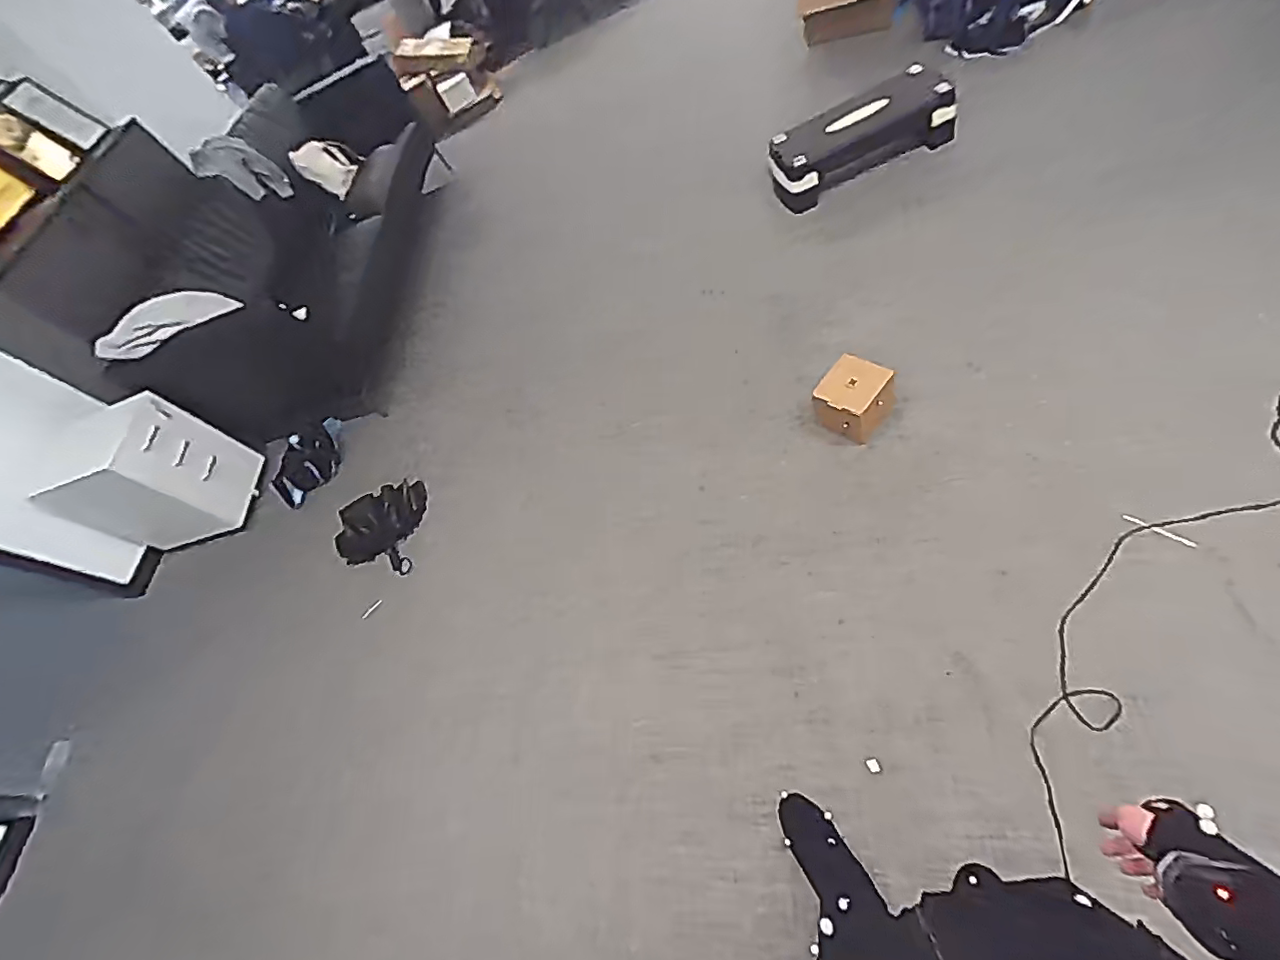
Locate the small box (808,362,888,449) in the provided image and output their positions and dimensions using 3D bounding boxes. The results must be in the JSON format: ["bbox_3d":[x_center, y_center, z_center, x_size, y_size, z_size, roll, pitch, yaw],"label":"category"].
[{"bbox_3d":[0.644,-0.224,1.669,0.168,0.176,0.179,32,76,34],"label":"small box"}]
